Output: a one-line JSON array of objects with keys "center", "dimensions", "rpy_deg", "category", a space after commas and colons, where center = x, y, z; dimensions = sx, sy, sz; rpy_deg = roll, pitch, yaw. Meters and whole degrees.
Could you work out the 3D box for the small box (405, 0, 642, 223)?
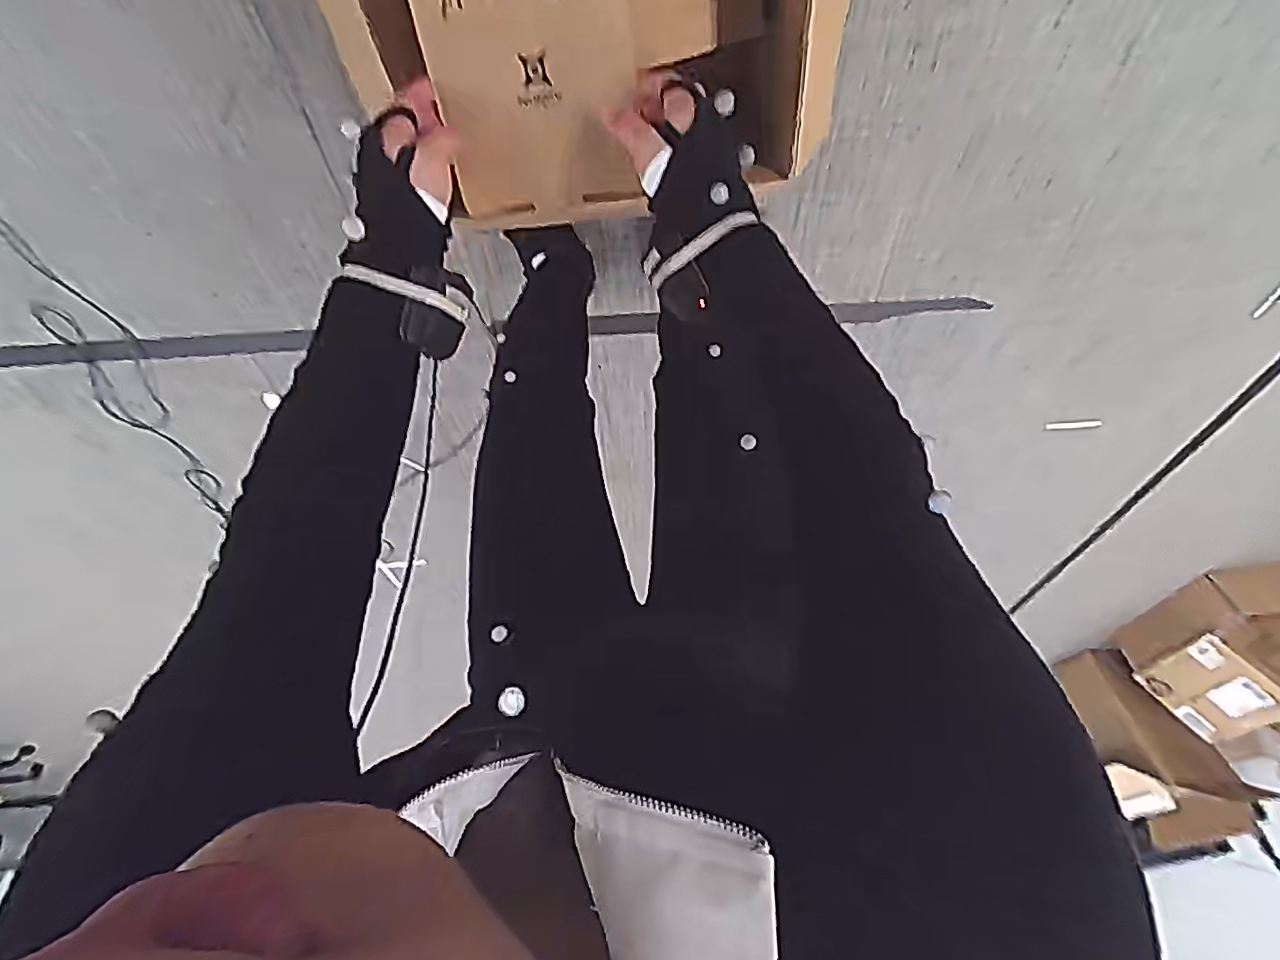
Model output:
[{"center": [-0.094, -0.357, 0.503], "dimensions": [0.168, 0.176, 0.179], "rpy_deg": [-9, 123, -1], "category": "small box"}]
